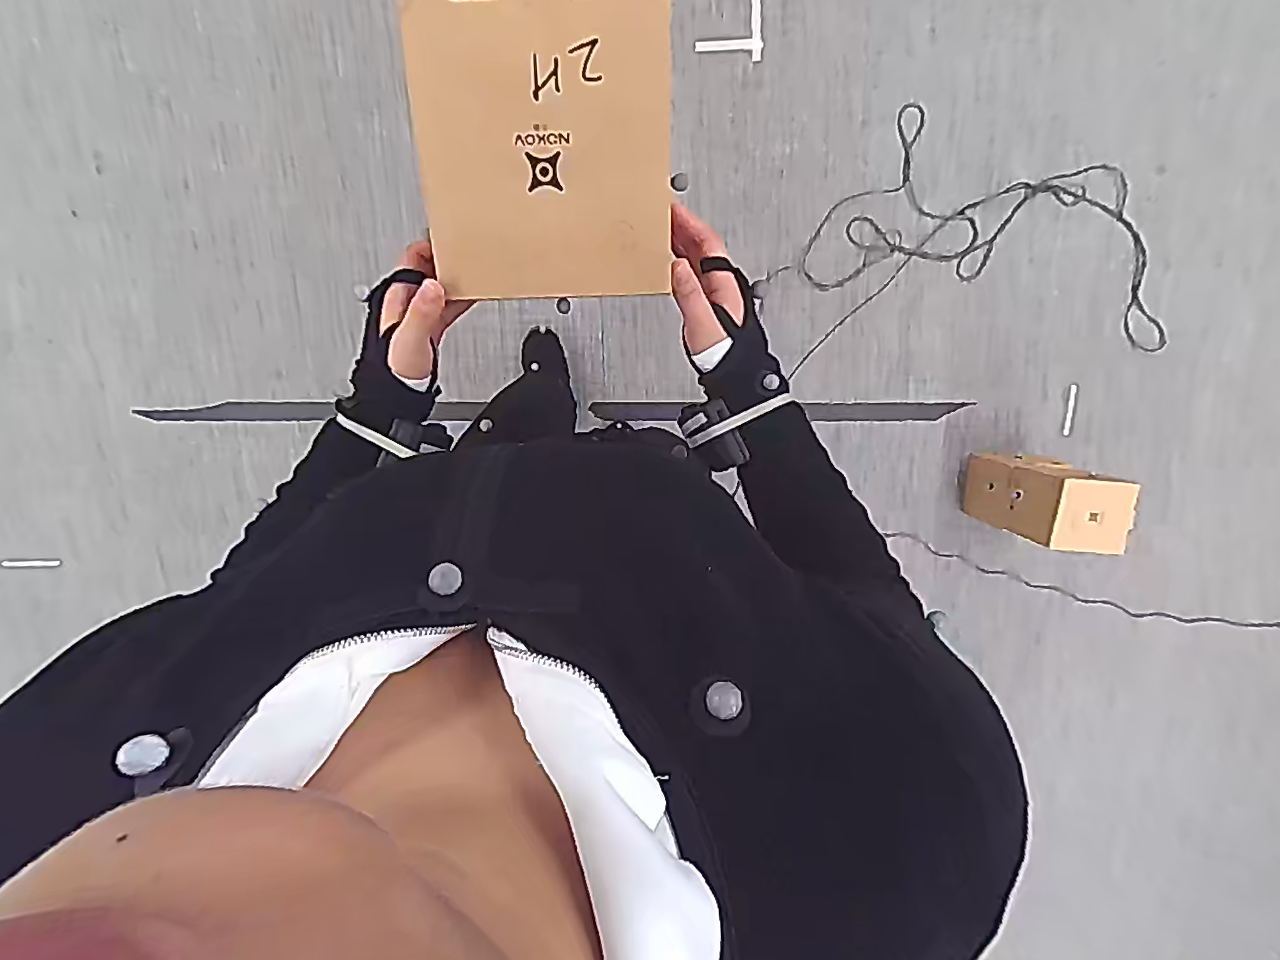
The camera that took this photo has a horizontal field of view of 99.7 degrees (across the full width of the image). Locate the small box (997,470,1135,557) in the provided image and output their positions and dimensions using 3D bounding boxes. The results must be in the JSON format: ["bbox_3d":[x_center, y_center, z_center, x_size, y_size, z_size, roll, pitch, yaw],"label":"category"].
[{"bbox_3d":[0.996,0.073,1.279,0.179,0.176,0.168,4,101,-1],"label":"small box"}]

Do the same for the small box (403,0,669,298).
[{"bbox_3d":[-0.063,-0.242,0.432,0.168,0.176,0.179,-2,109,-1],"label":"small box"}]

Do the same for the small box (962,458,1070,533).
[{"bbox_3d":[0.989,0.036,1.438,0.168,0.176,0.179,-1,101,-1],"label":"small box"}]
